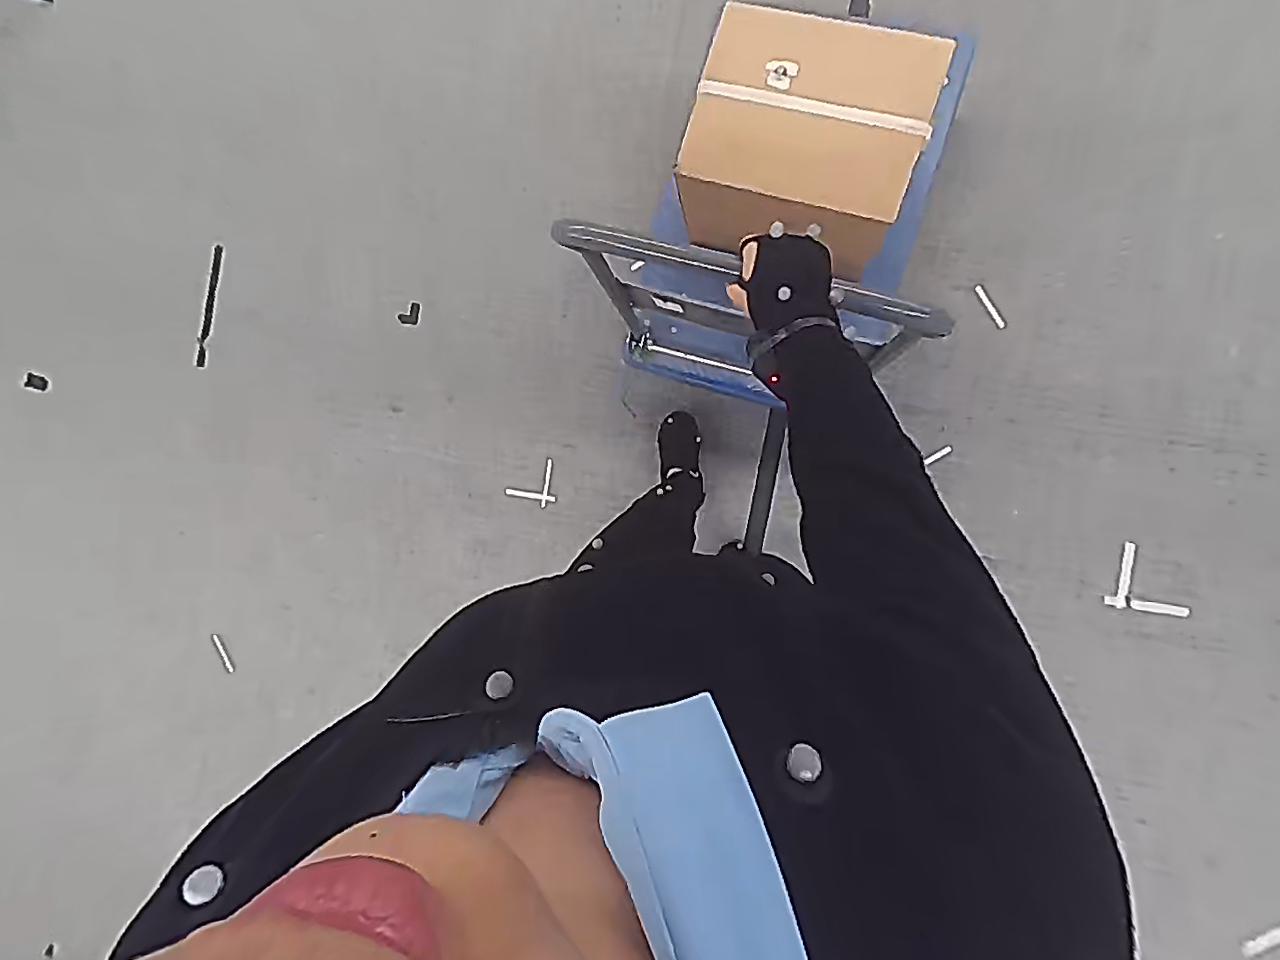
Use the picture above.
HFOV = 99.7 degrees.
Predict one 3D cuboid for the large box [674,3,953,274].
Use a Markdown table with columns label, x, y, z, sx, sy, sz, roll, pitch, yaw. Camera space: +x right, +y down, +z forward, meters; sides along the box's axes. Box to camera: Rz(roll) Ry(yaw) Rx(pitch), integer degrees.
| label | x | y | z | sx | sy | sz | roll | pitch | yaw |
| --- | --- | --- | --- | --- | --- | --- | --- | --- | --- |
| large box | 0.321 | -0.652 | 1.082 | 0.408 | 0.320 | 0.320 | 18 | 94 | 11 |
